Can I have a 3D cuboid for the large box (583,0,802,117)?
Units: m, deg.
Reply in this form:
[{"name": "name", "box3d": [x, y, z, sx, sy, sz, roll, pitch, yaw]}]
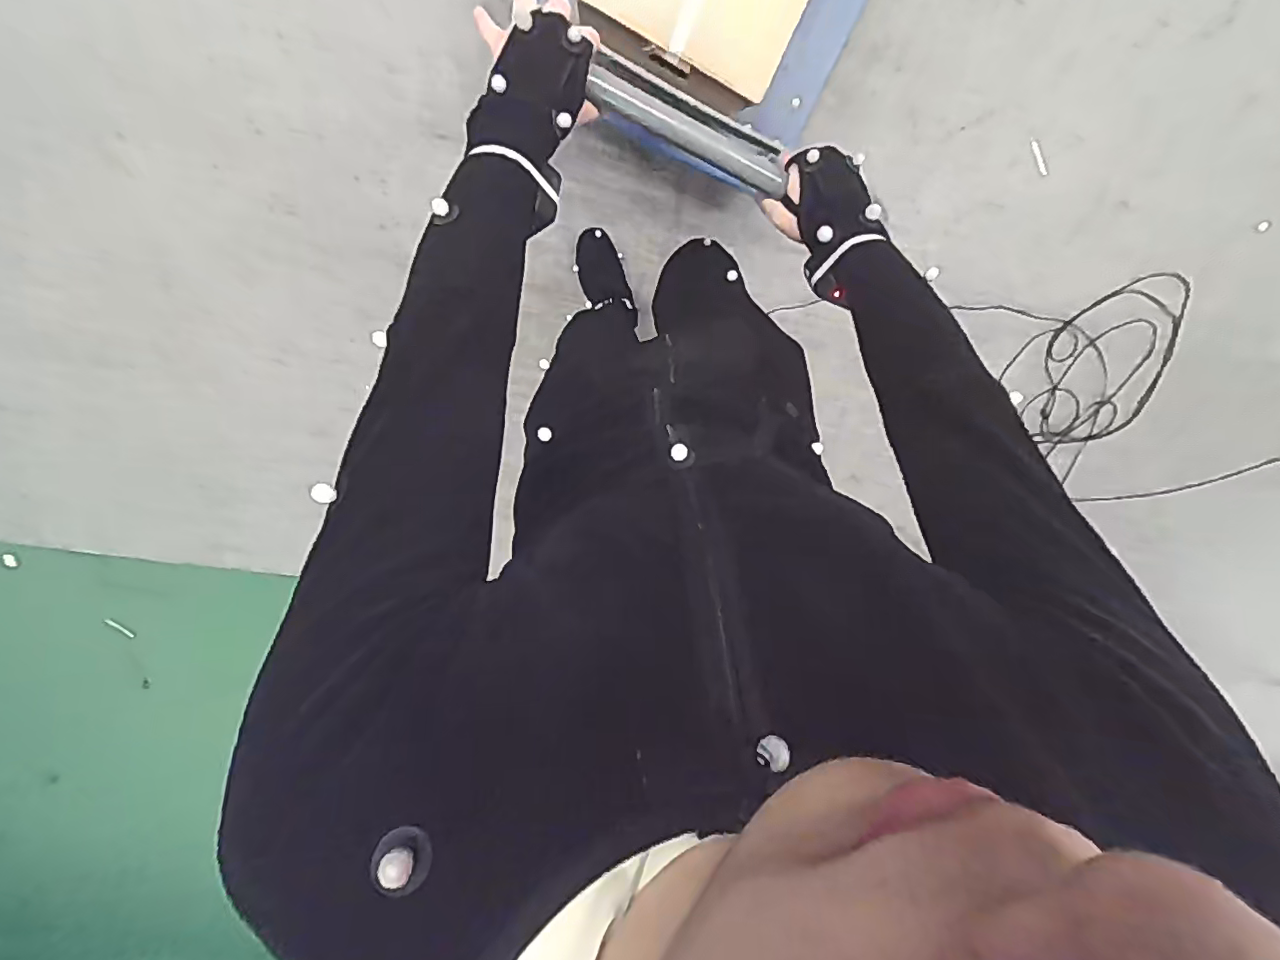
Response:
[{"name": "large box", "box3d": [0.118, -0.893, 0.882, 0.320, 0.320, 0.408, 20, 115, -15]}]
